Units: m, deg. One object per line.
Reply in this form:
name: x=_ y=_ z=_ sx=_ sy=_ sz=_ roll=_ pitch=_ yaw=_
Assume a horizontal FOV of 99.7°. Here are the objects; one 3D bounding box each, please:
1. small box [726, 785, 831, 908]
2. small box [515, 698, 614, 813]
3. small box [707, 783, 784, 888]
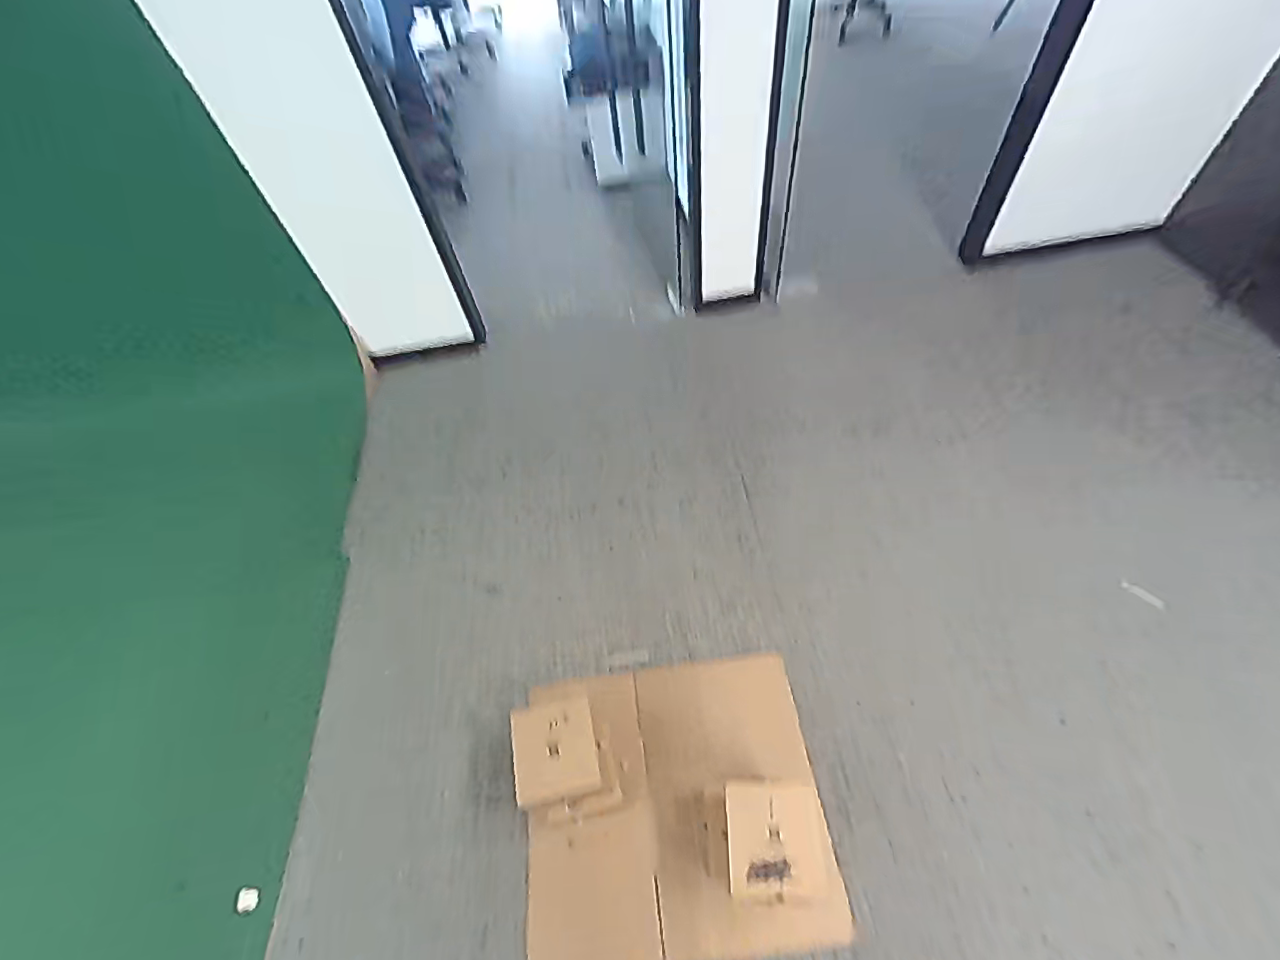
small box: x=0.250 y=0.687 z=1.015 sx=0.168 sy=0.176 sz=0.179 roll=-1 pitch=52 yaw=6
small box: x=-0.156 y=0.586 z=1.142 sx=0.168 sy=0.176 sz=0.179 roll=-12 pitch=53 yaw=-3
small box: x=0.236 y=0.765 z=1.164 sx=0.168 sy=0.176 sz=0.179 roll=-5 pitch=53 yaw=4
